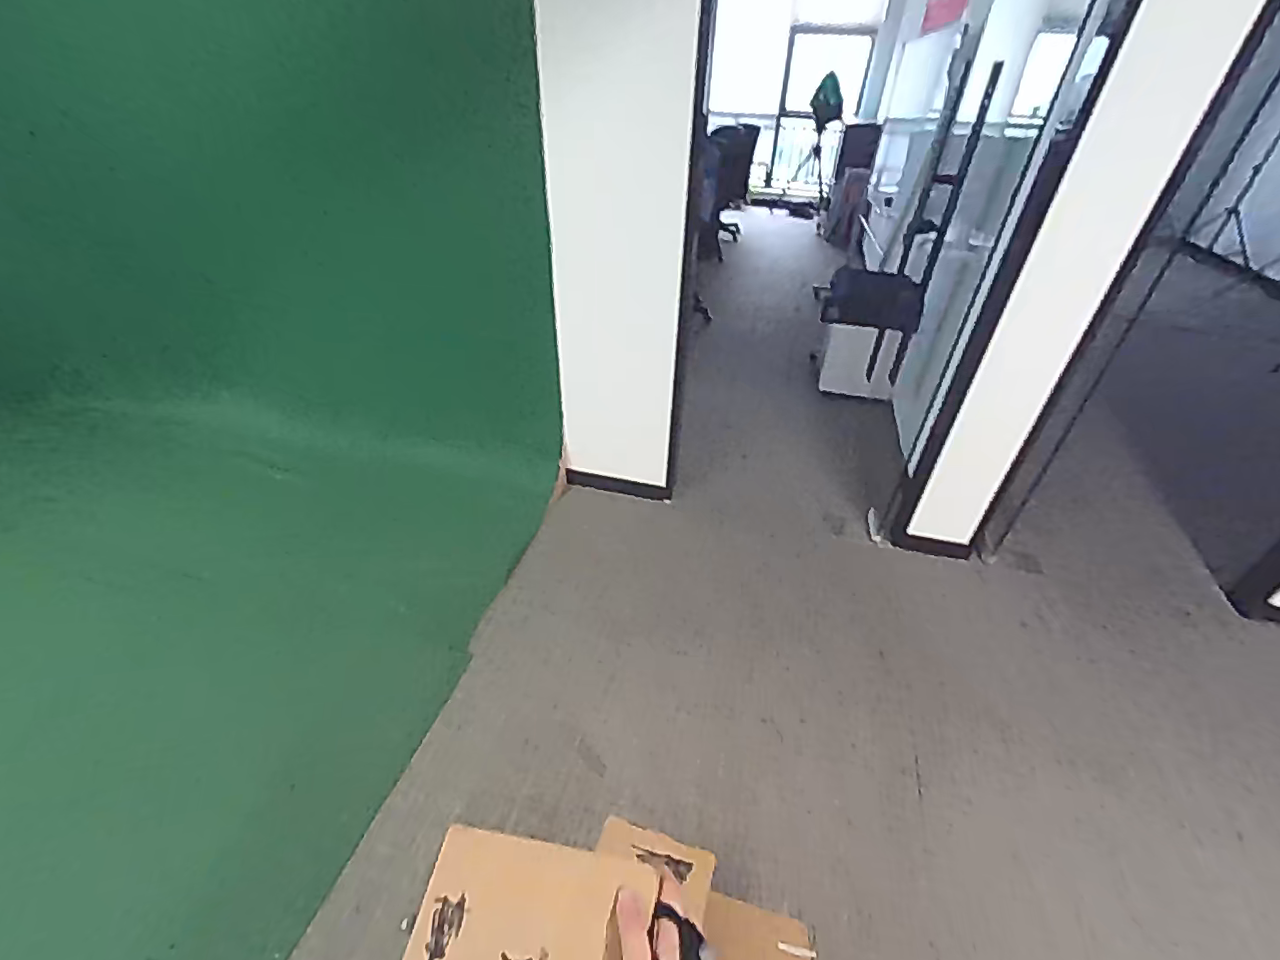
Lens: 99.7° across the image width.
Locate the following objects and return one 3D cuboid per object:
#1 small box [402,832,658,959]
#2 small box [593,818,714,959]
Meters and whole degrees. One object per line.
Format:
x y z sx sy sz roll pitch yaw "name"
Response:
-0.094 0.410 0.429 0.179 0.176 0.168 12 43 0 "small box"
-0.002 0.631 0.762 0.168 0.176 0.179 12 35 14 "small box"
